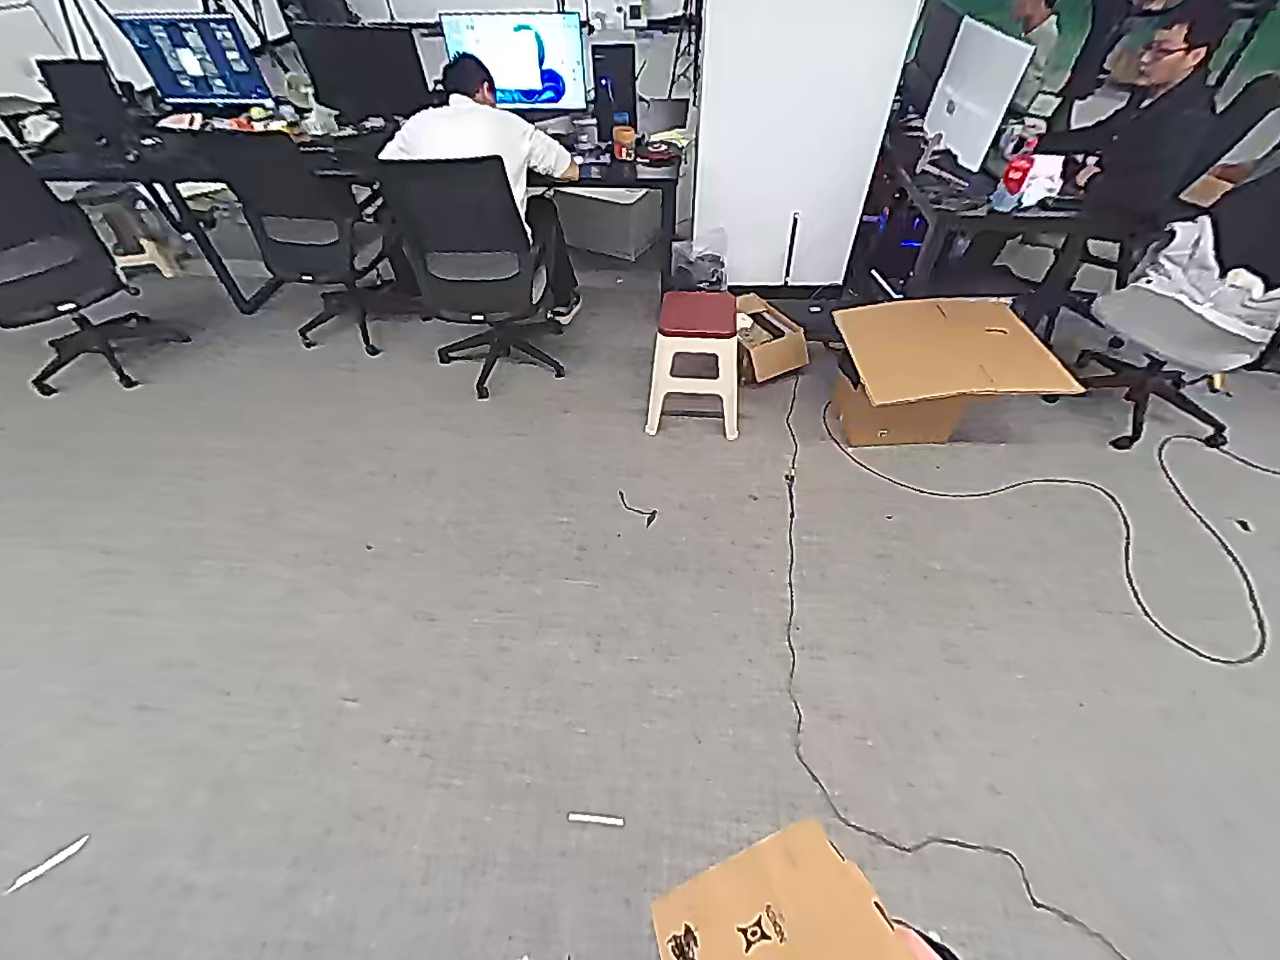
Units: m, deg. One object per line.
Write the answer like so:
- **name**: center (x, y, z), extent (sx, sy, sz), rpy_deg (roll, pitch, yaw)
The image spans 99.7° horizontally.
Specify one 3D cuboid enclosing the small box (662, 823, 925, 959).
- **small box**: center (0.139, 0.443, 0.445), extent (0.179, 0.168, 0.176), rpy_deg (-22, 92, -7)
